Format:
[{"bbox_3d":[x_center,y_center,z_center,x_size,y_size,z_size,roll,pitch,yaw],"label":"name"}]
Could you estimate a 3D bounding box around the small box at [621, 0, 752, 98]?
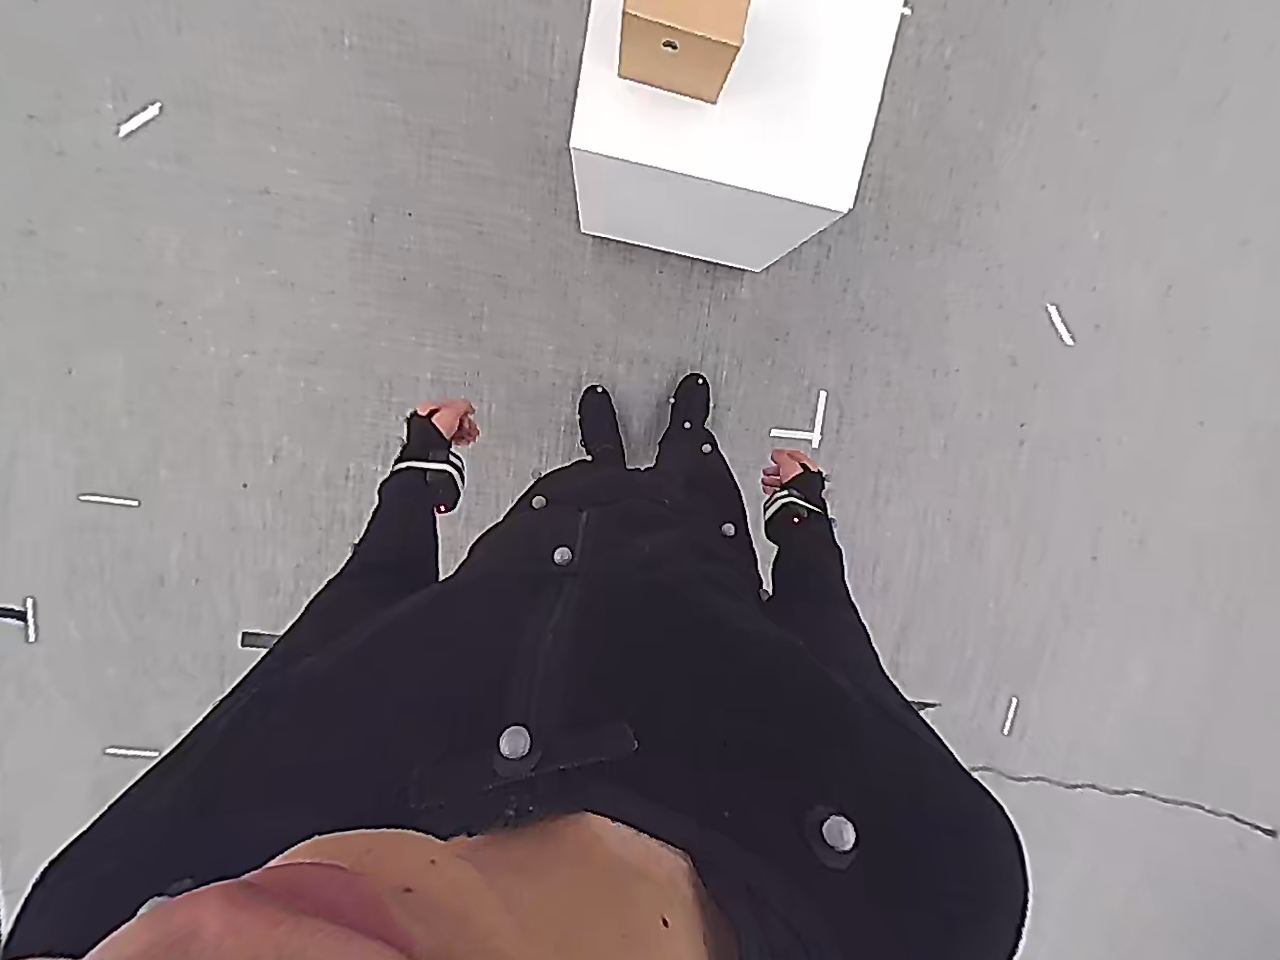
[{"bbox_3d":[0.072,-0.725,0.823,0.179,0.176,0.168,11,100,-7],"label":"small box"}]
